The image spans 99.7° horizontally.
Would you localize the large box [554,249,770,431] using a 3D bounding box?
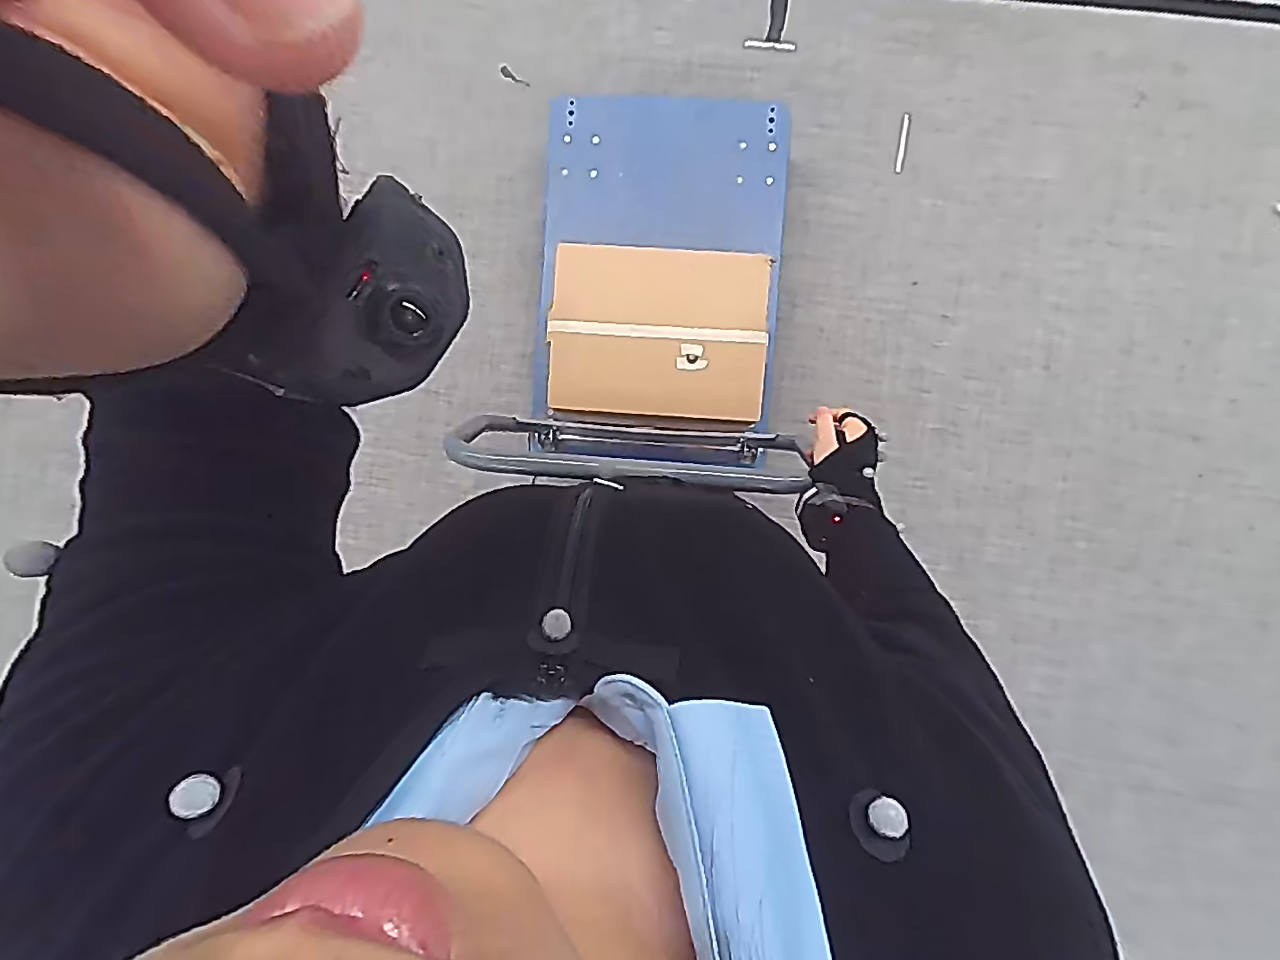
[{"bbox_3d":[0.042,-0.279,1.172,0.408,0.320,0.320,4,92,1],"label":"large box"}]
